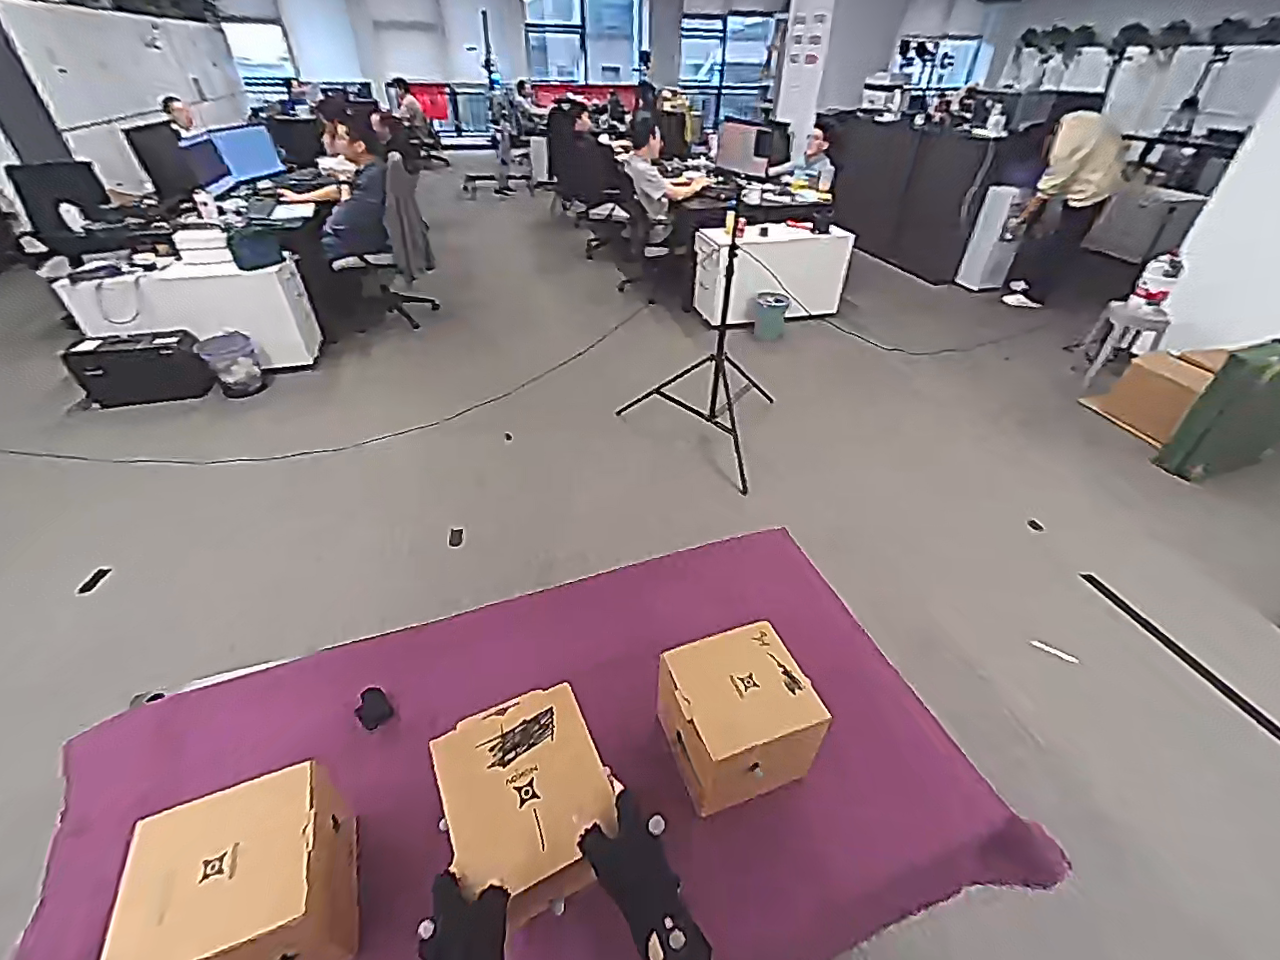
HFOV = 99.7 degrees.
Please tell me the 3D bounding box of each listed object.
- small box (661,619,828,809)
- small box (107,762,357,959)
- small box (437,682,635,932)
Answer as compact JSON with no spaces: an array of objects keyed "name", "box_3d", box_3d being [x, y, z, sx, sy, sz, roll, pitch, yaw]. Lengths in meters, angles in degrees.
[{"name":"small box","box_3d":[0.139,0.337,0.781,0.179,0.176,0.168,-13,40,-16]},{"name":"small box","box_3d":[-0.432,0.463,0.607,0.179,0.176,0.168,-15,39,-19]},{"name":"small box","box_3d":[-0.120,0.375,0.625,0.168,0.176,0.179,-18,50,-21]}]
